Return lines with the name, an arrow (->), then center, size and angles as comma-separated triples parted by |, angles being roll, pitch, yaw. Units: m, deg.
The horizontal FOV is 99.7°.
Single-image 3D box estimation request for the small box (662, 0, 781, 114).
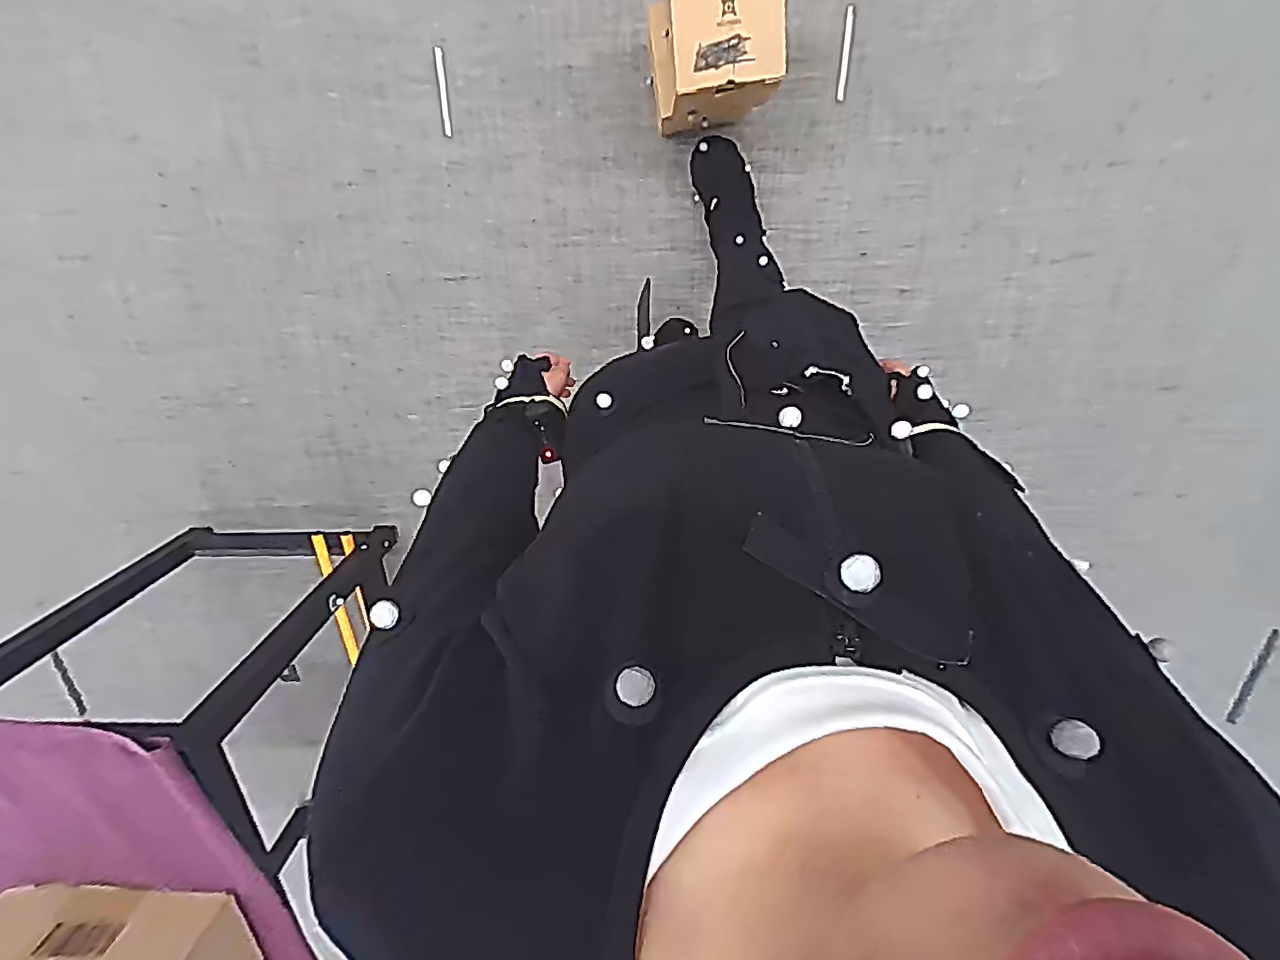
small box -> 0.123, -0.699, 0.851 | 0.168, 0.176, 0.179 | -6, 112, 3
